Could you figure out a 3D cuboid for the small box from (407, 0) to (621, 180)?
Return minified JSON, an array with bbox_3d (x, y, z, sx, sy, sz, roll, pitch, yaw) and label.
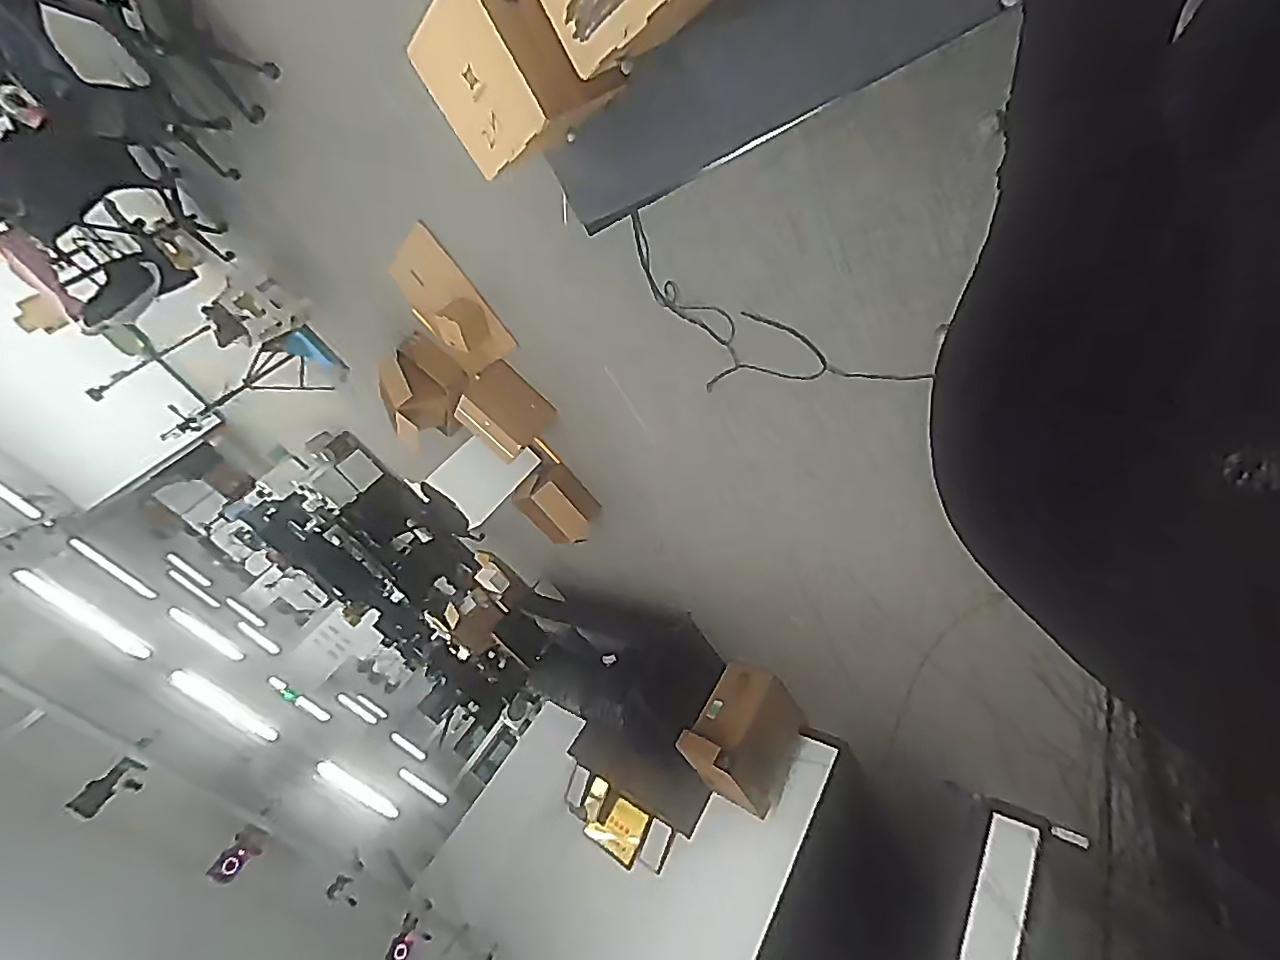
[{"bbox_3d":[-0.160,-0.543,0.714,0.168,0.176,0.179,-3,129,48],"label":"small box"}]
